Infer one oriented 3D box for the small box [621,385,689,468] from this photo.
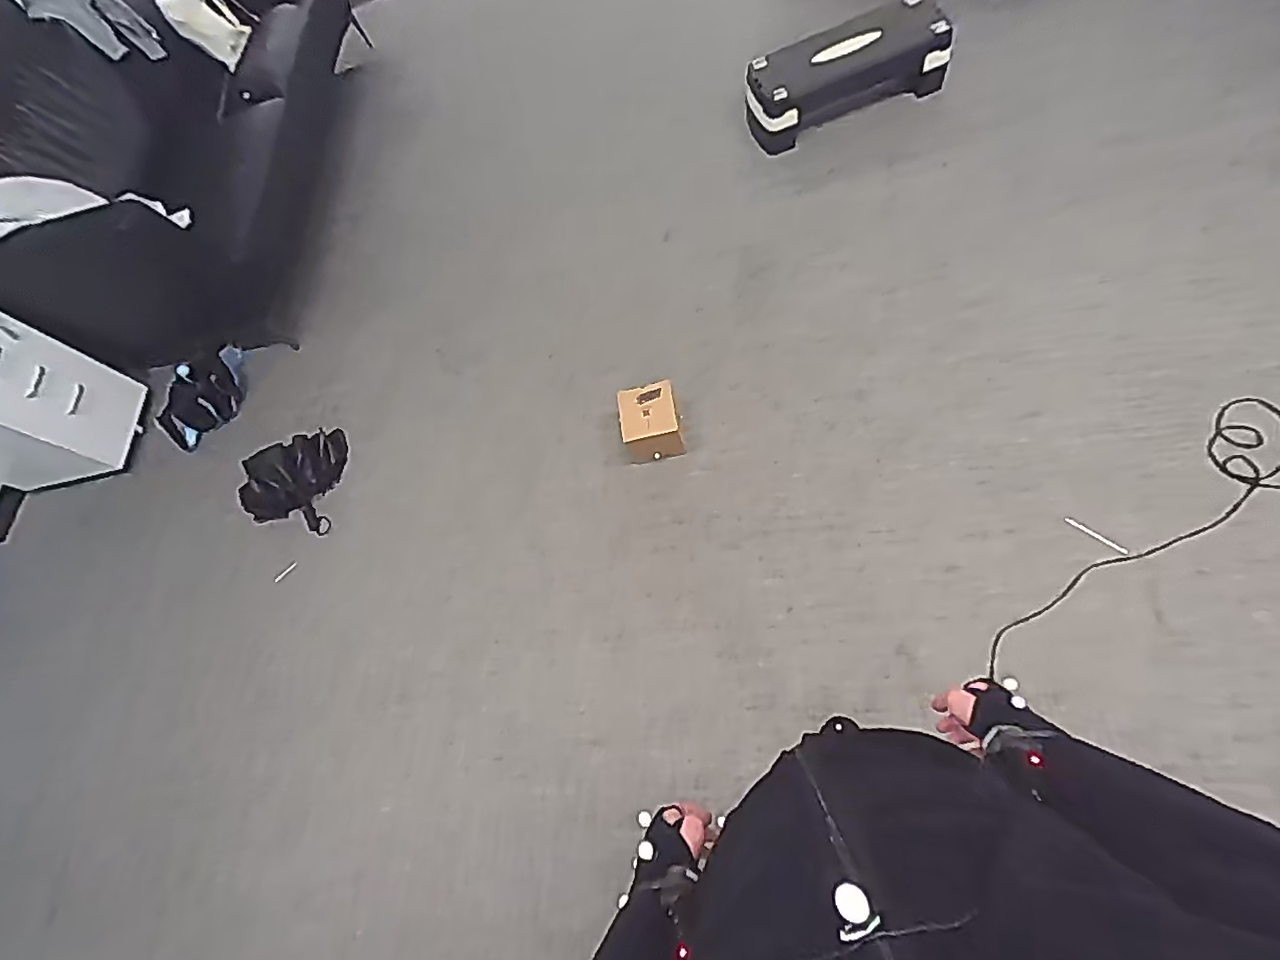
[{"bbox_3d":[0.049,-0.159,1.656,0.168,0.176,0.179,-12,66,11],"label":"small box"}]
